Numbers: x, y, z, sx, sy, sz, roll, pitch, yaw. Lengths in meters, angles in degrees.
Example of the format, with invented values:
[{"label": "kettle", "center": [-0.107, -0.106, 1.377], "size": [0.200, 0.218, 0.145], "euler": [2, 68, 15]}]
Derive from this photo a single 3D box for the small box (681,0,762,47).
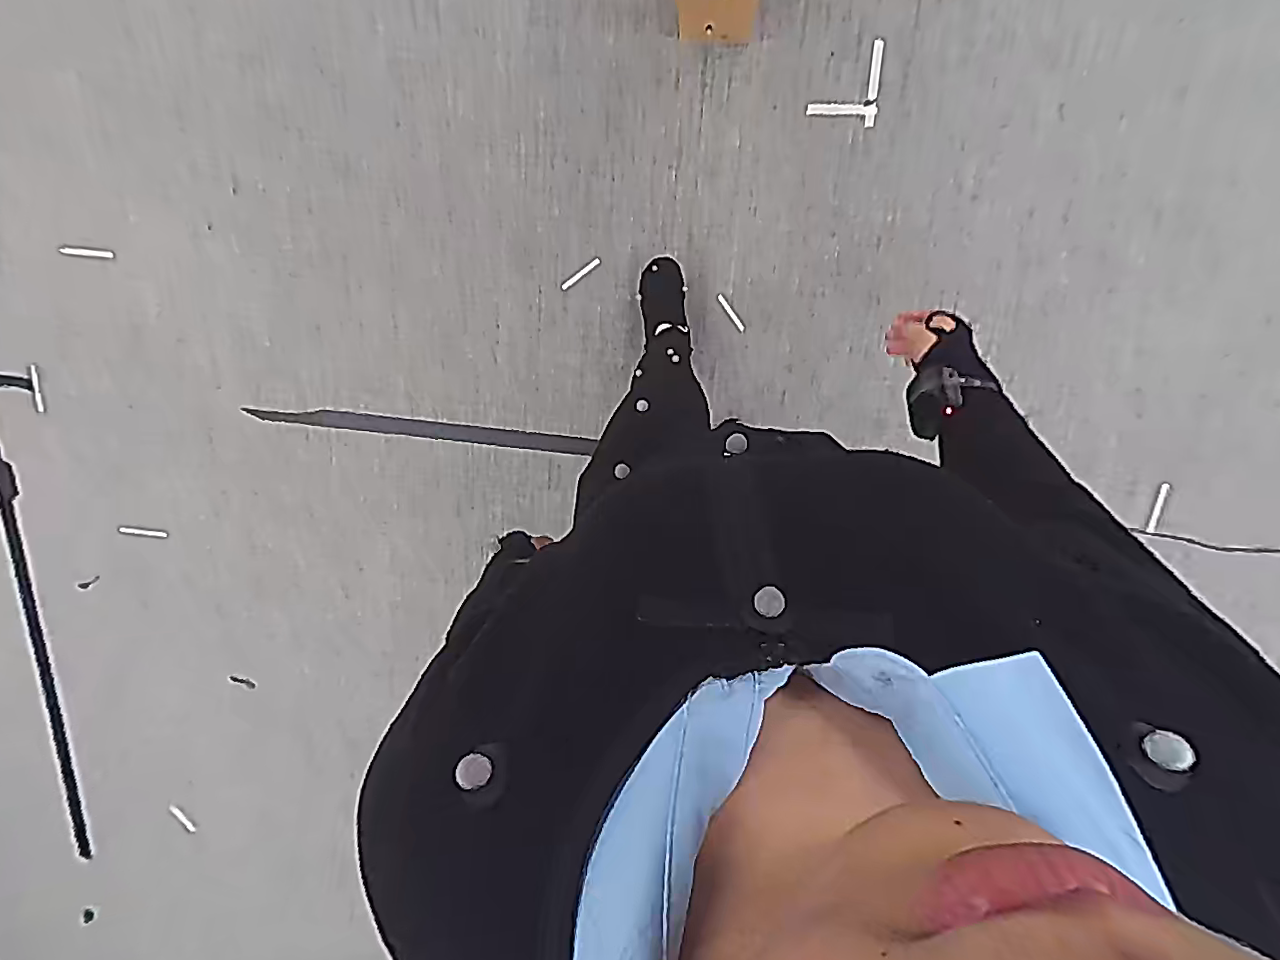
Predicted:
[{"label": "small box", "center": [0.174, -1.067, 1.146], "size": [0.168, 0.176, 0.179], "euler": [4, 104, 4]}]
